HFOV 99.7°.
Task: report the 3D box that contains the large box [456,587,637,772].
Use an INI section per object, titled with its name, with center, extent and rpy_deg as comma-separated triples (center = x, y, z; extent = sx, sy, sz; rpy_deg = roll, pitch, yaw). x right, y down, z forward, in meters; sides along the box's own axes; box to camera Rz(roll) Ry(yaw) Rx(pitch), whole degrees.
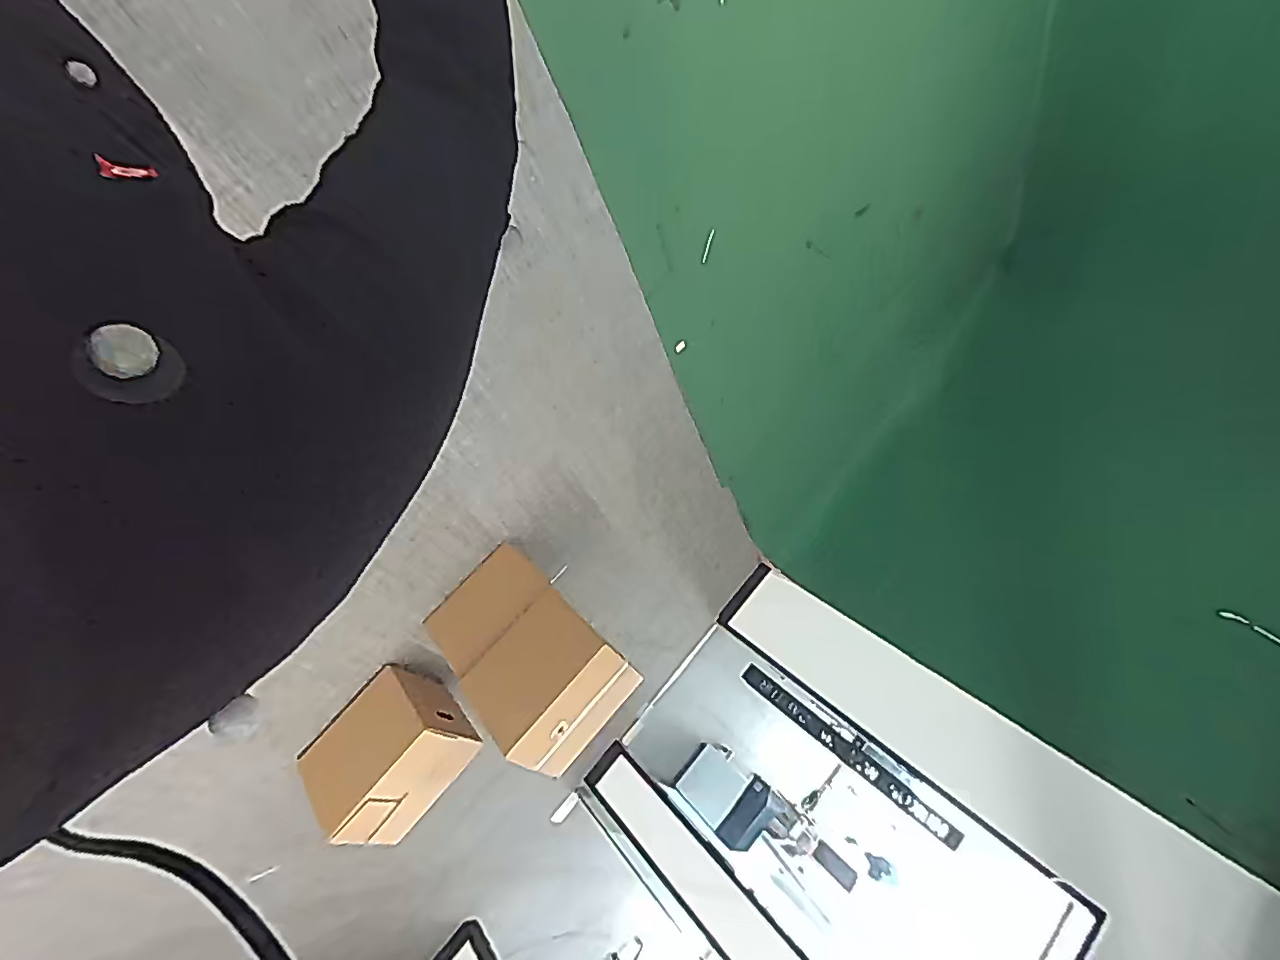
[large box]
center = -0.289, 0.624, 1.711
extent = 0.408, 0.320, 0.320
rpy_deg = -46, 139, -13
